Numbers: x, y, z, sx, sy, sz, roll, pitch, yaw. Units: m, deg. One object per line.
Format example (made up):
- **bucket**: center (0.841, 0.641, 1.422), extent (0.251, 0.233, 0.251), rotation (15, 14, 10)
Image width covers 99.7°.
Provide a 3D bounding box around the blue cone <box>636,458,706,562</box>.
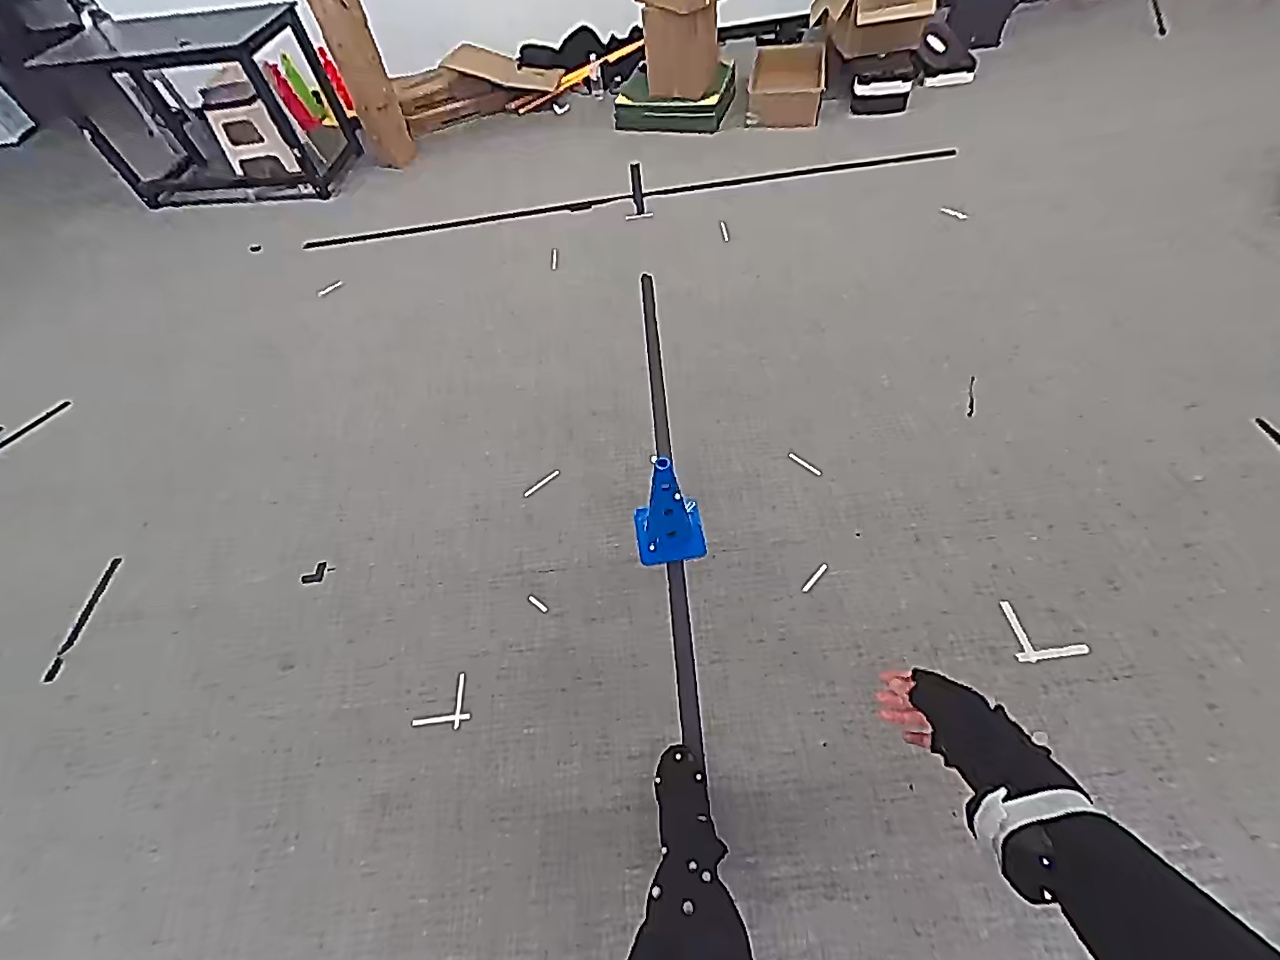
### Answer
- **blue cone**: center (0.078, 0.057, 1.486), extent (0.192, 0.380, 0.193), rotation (-11, 56, -1)
